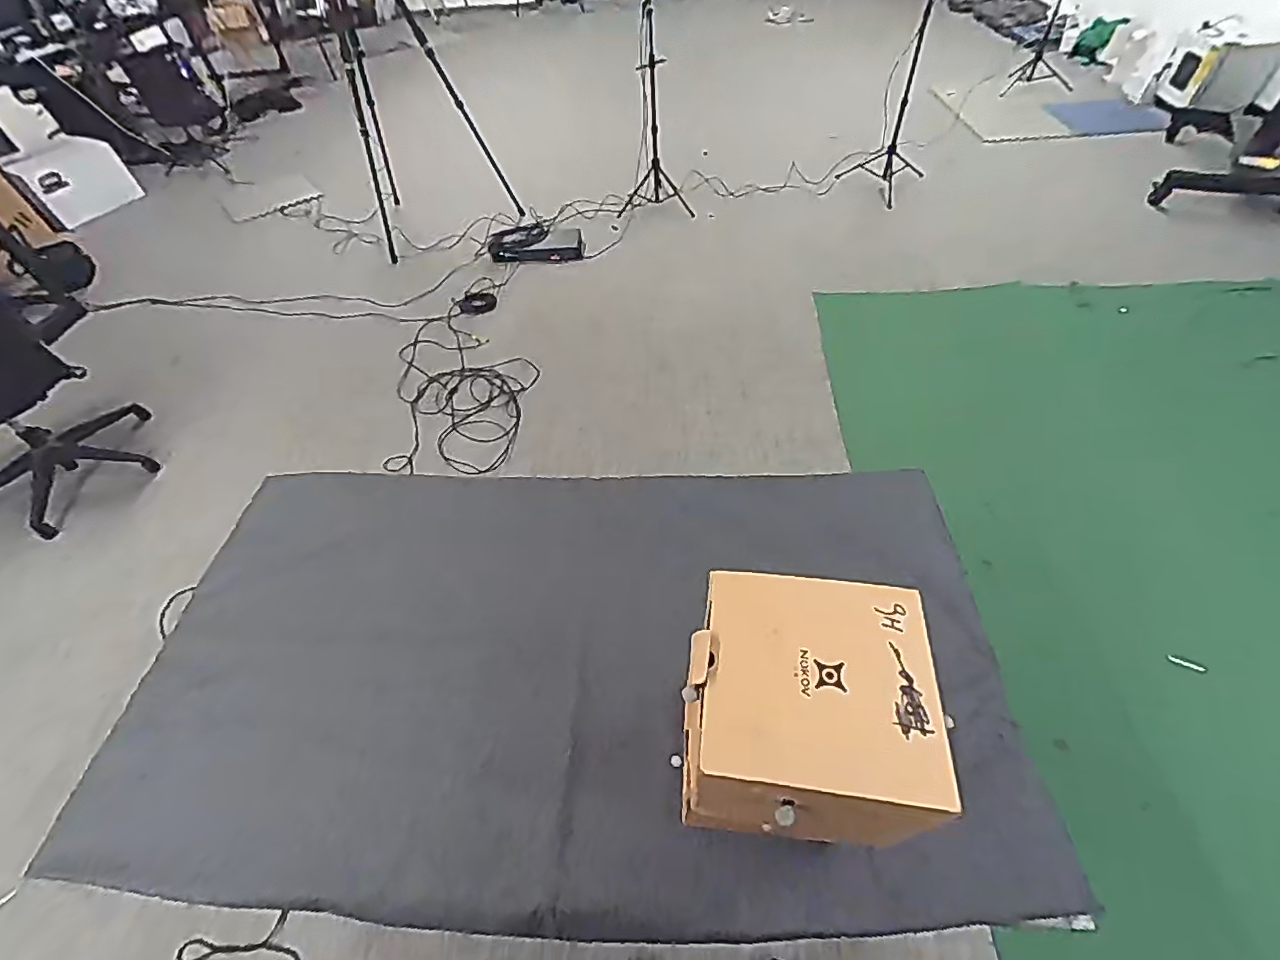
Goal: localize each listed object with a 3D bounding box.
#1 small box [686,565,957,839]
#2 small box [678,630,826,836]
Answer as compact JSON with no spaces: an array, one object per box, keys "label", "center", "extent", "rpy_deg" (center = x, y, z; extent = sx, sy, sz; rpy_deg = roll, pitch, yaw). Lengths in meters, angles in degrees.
[{"label":"small box","center":[0.136,0.192,0.465],"extent":[0.179,0.176,0.168],"rpy_deg":[4,51,9]},{"label":"small box","center":[0.136,0.284,0.602],"extent":[0.179,0.176,0.168],"rpy_deg":[3,51,6]}]
